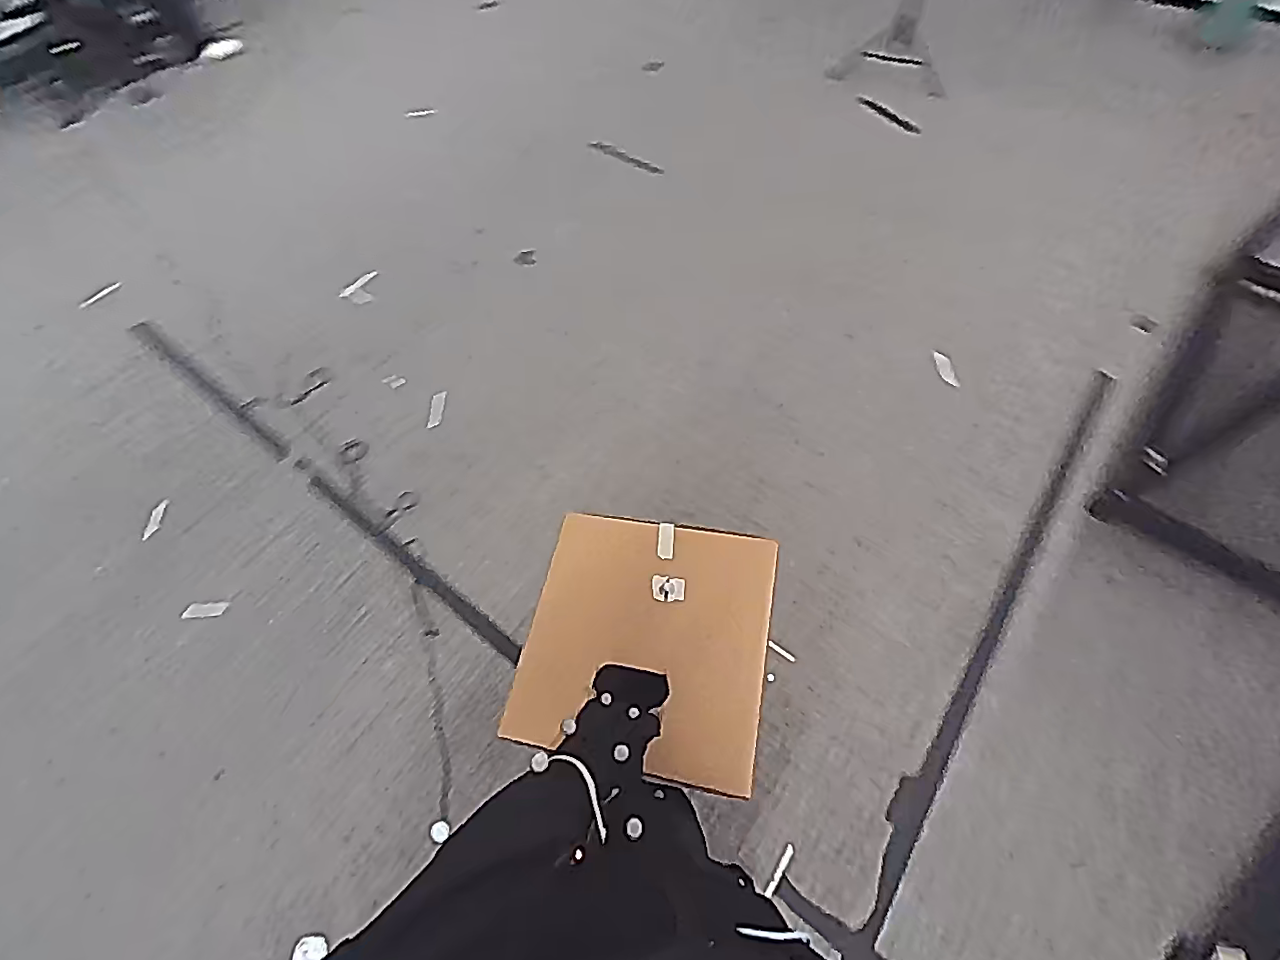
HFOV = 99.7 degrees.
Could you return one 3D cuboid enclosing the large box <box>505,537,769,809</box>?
[{"bbox_3d":[0.039,0.312,0.863,0.320,0.408,0.320,5,63,14],"label":"large box"}]
